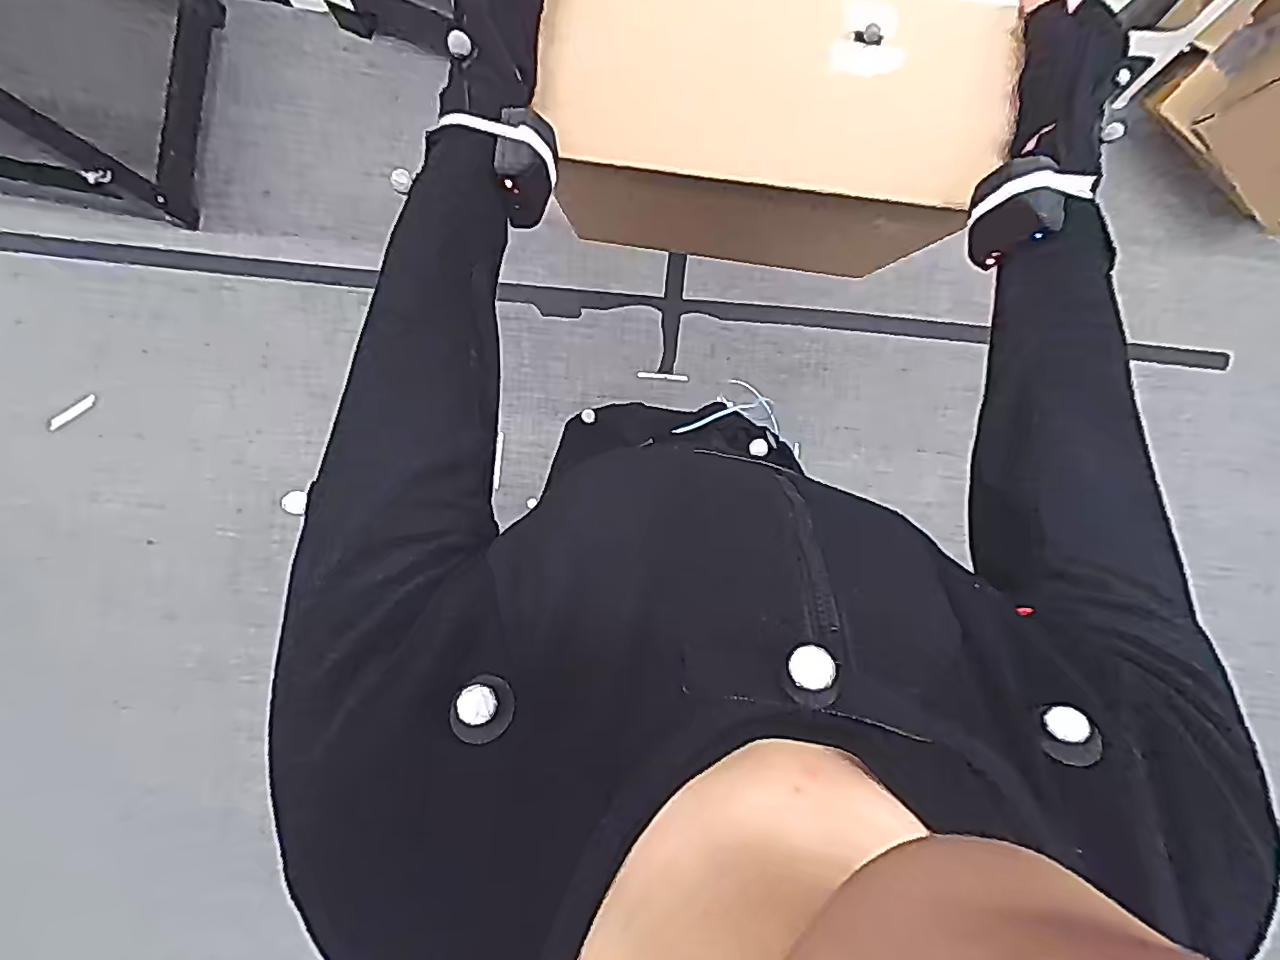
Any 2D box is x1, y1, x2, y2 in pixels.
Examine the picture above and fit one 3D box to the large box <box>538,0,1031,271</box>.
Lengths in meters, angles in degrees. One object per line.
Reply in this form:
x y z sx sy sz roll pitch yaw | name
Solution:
0.124 -0.436 0.589 0.408 0.320 0.320 7 102 0 | large box
